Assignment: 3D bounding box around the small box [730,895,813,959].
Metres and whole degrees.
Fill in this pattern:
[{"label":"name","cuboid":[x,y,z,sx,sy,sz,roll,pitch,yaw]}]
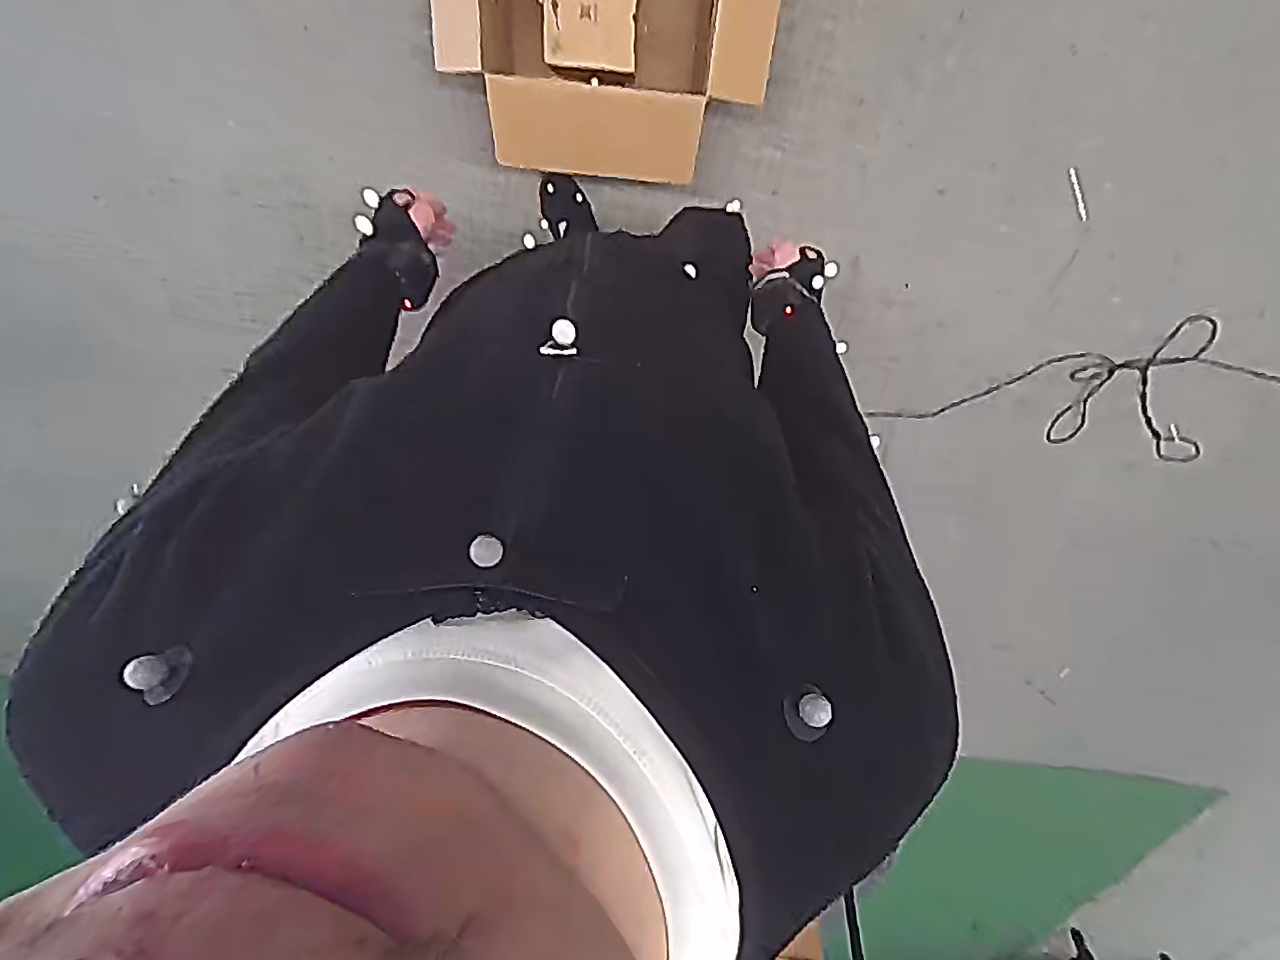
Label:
[{"label":"small box","cuboid":[0.368,1.328,1.552,0.168,0.176,0.179,12,119,-7]}]
